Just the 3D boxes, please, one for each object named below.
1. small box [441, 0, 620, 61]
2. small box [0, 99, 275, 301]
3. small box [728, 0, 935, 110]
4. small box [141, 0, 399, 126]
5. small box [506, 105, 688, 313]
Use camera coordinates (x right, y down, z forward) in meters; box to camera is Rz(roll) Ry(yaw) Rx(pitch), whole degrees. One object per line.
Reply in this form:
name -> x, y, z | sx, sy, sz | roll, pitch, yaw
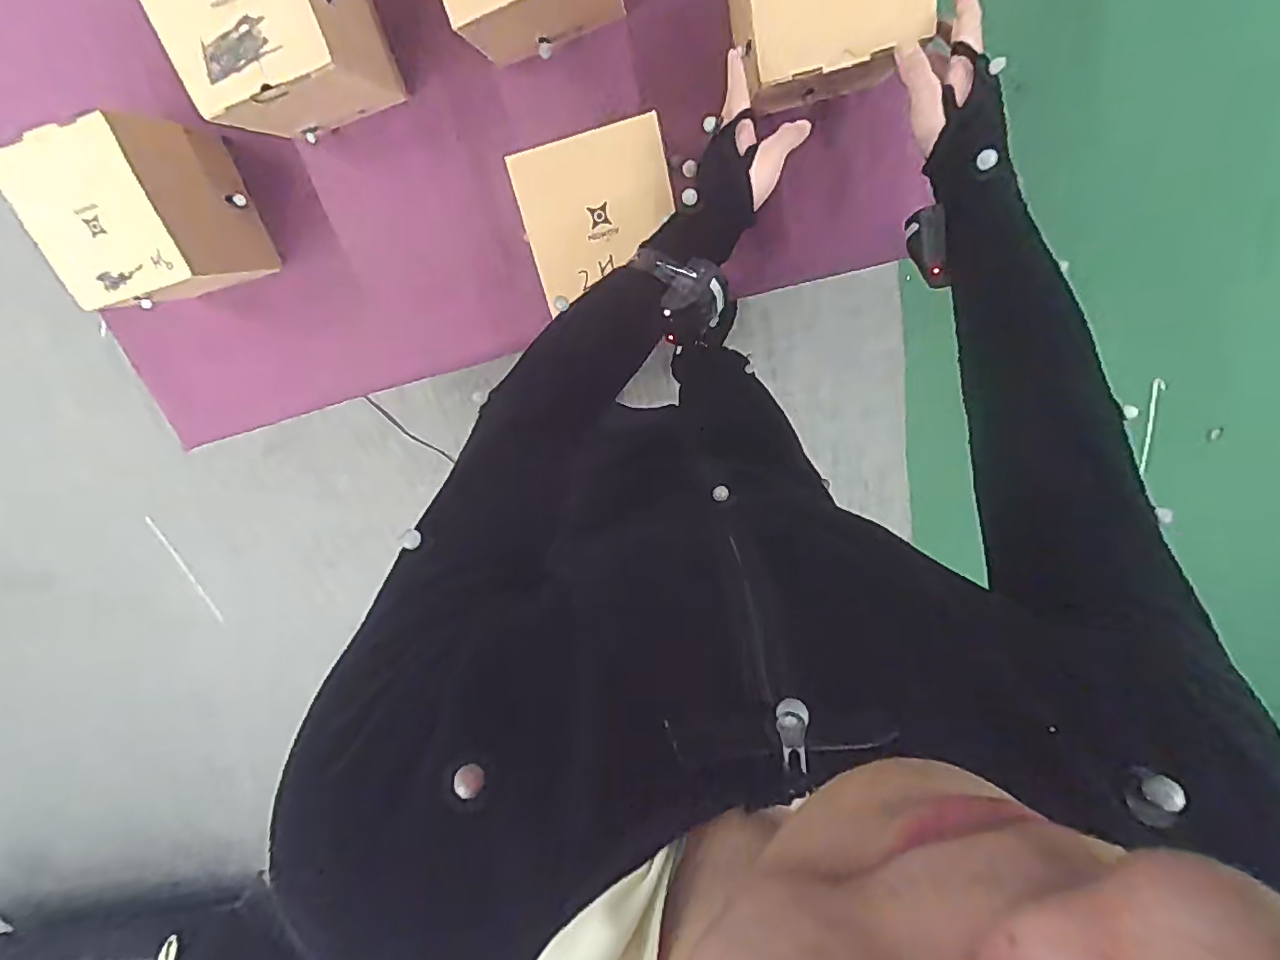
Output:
small box -> -0.125, -0.571, 0.545 | 0.168, 0.176, 0.179 | -13, 114, 11
small box -> -0.621, -0.340, 0.683 | 0.168, 0.176, 0.179 | -11, 113, 10
small box -> 0.181, -0.512, 0.551 | 0.168, 0.176, 0.179 | -10, 115, 9
small box -> -0.400, -0.512, 0.590 | 0.168, 0.176, 0.179 | -13, 113, 9
small box -> -0.039, -0.315, 0.656 | 0.168, 0.176, 0.179 | -10, 113, 9
